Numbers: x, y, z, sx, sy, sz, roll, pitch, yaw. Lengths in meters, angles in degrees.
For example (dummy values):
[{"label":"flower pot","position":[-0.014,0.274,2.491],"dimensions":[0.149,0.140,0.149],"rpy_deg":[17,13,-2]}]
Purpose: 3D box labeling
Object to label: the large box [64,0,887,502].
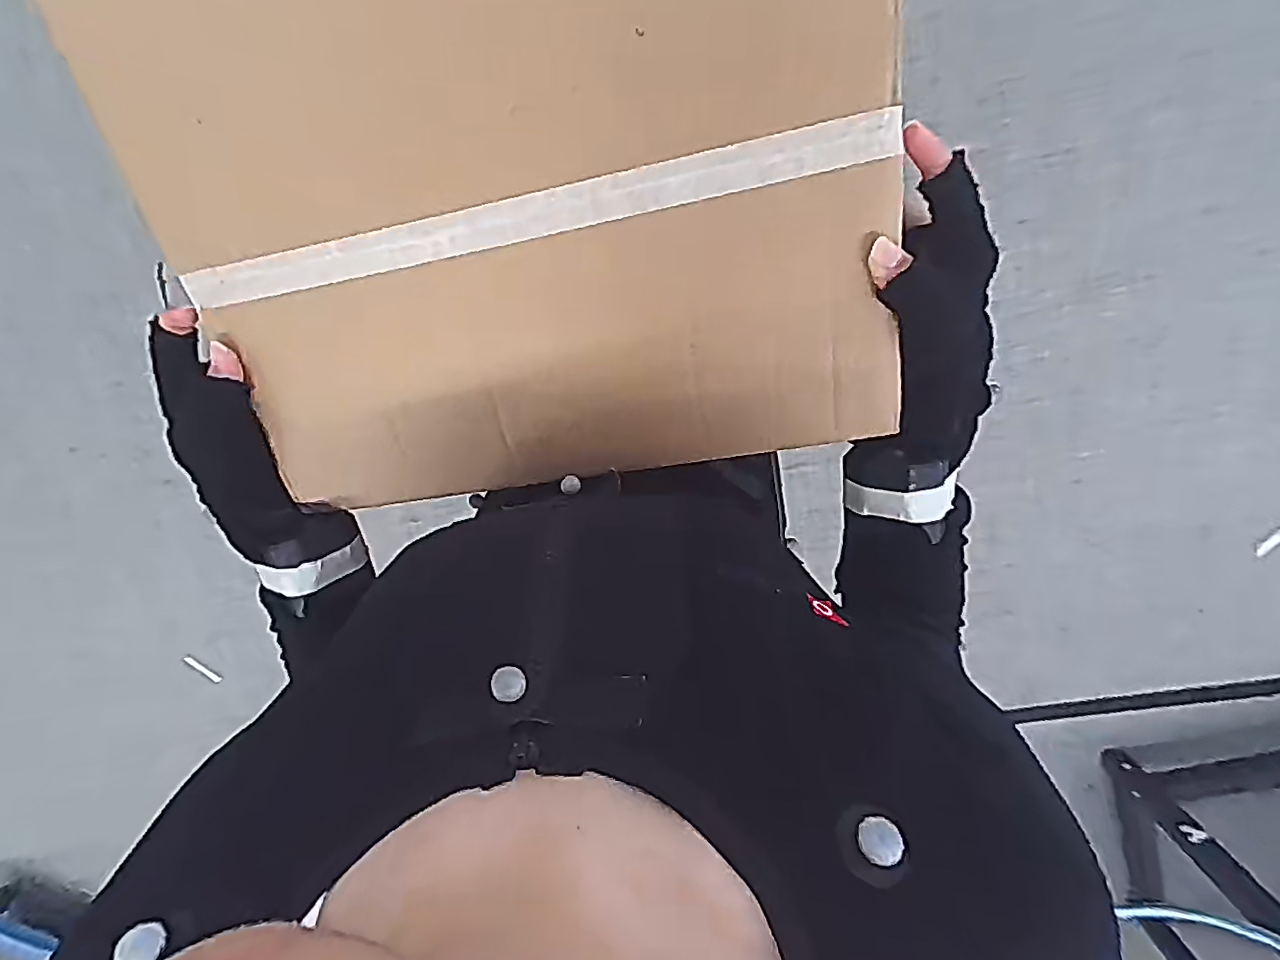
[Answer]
[{"label":"large box","position":[-0.057,-0.212,0.433],"dimensions":[0.408,0.320,0.320],"rpy_deg":[-8,114,10]}]
